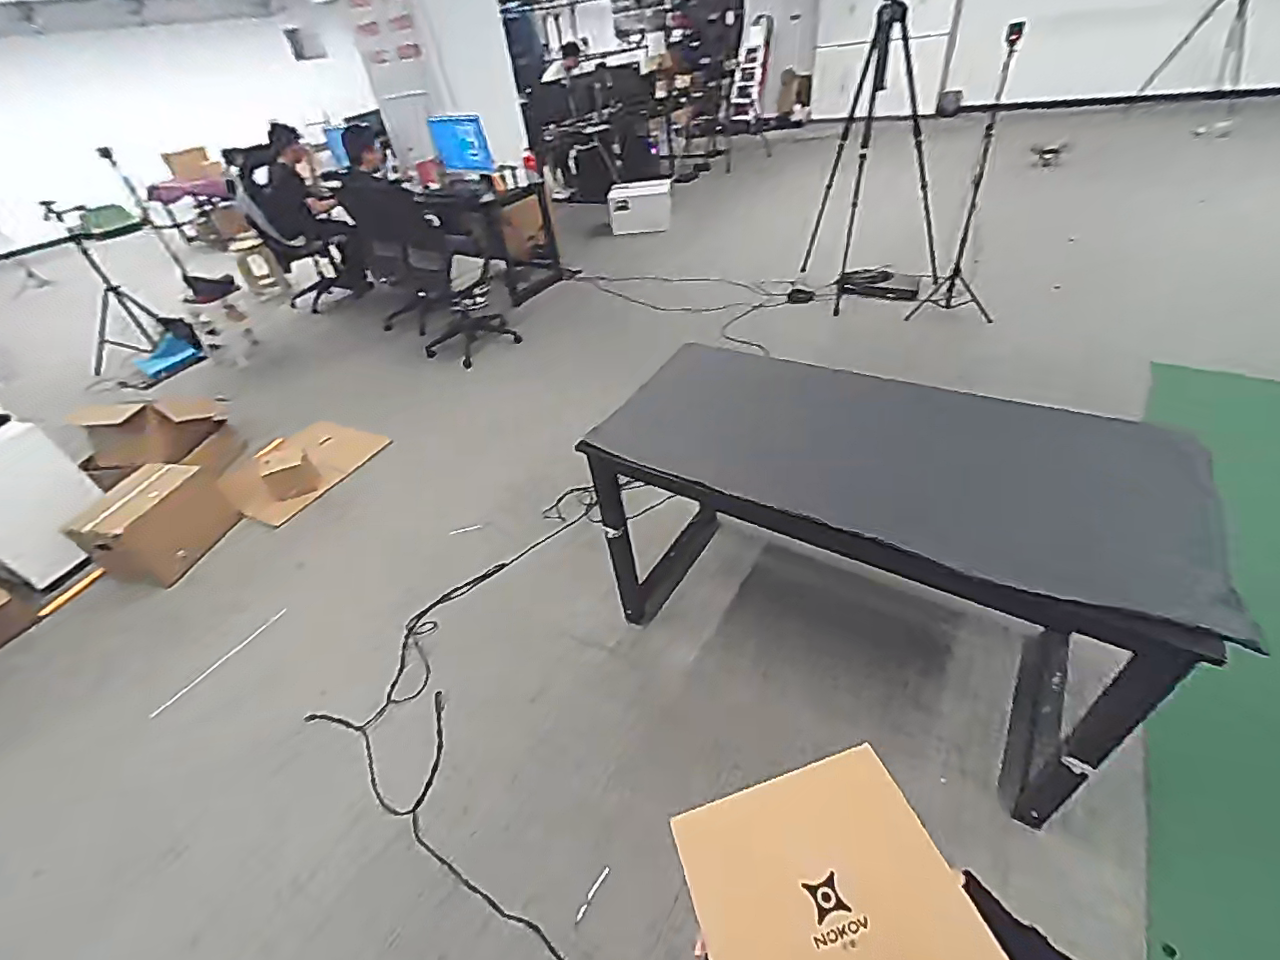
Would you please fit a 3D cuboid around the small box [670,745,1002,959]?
[{"bbox_3d":[0.132,0.336,0.387,0.168,0.176,0.179,-18,36,-6],"label":"small box"}]
